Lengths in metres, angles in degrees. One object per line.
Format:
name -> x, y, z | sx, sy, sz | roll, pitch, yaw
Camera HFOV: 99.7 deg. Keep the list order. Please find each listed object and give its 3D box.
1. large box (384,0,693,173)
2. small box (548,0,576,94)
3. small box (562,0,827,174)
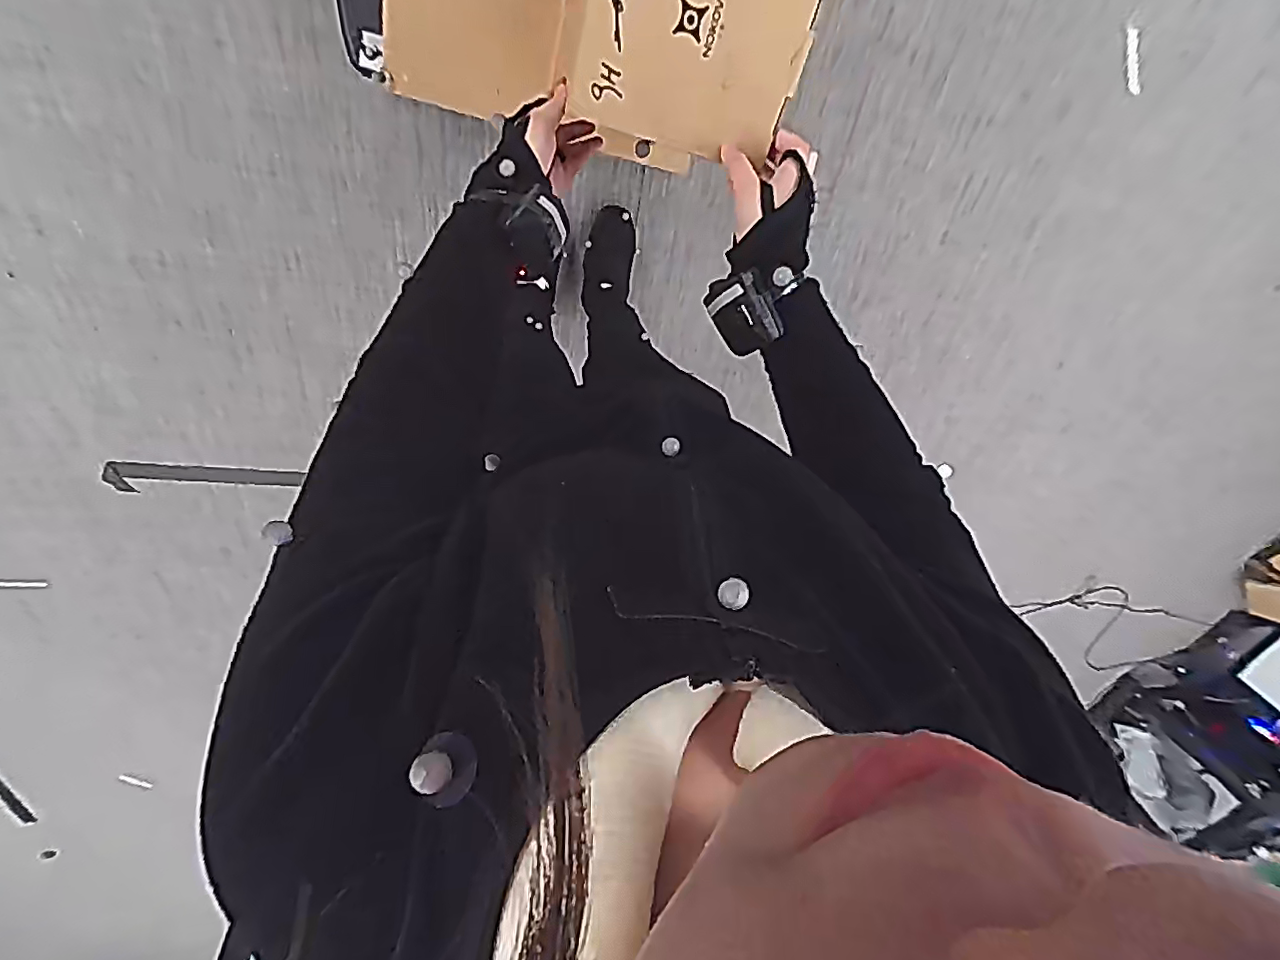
large box -> -0.109, -0.662, 0.755 | 0.408, 0.320, 0.320 | 7, 122, -15
small box -> 0.002, -0.494, 0.594 | 0.179, 0.176, 0.168 | 9, 122, -17
small box -> 0.036, -0.390, 0.471 | 0.179, 0.176, 0.168 | 7, 122, -17
